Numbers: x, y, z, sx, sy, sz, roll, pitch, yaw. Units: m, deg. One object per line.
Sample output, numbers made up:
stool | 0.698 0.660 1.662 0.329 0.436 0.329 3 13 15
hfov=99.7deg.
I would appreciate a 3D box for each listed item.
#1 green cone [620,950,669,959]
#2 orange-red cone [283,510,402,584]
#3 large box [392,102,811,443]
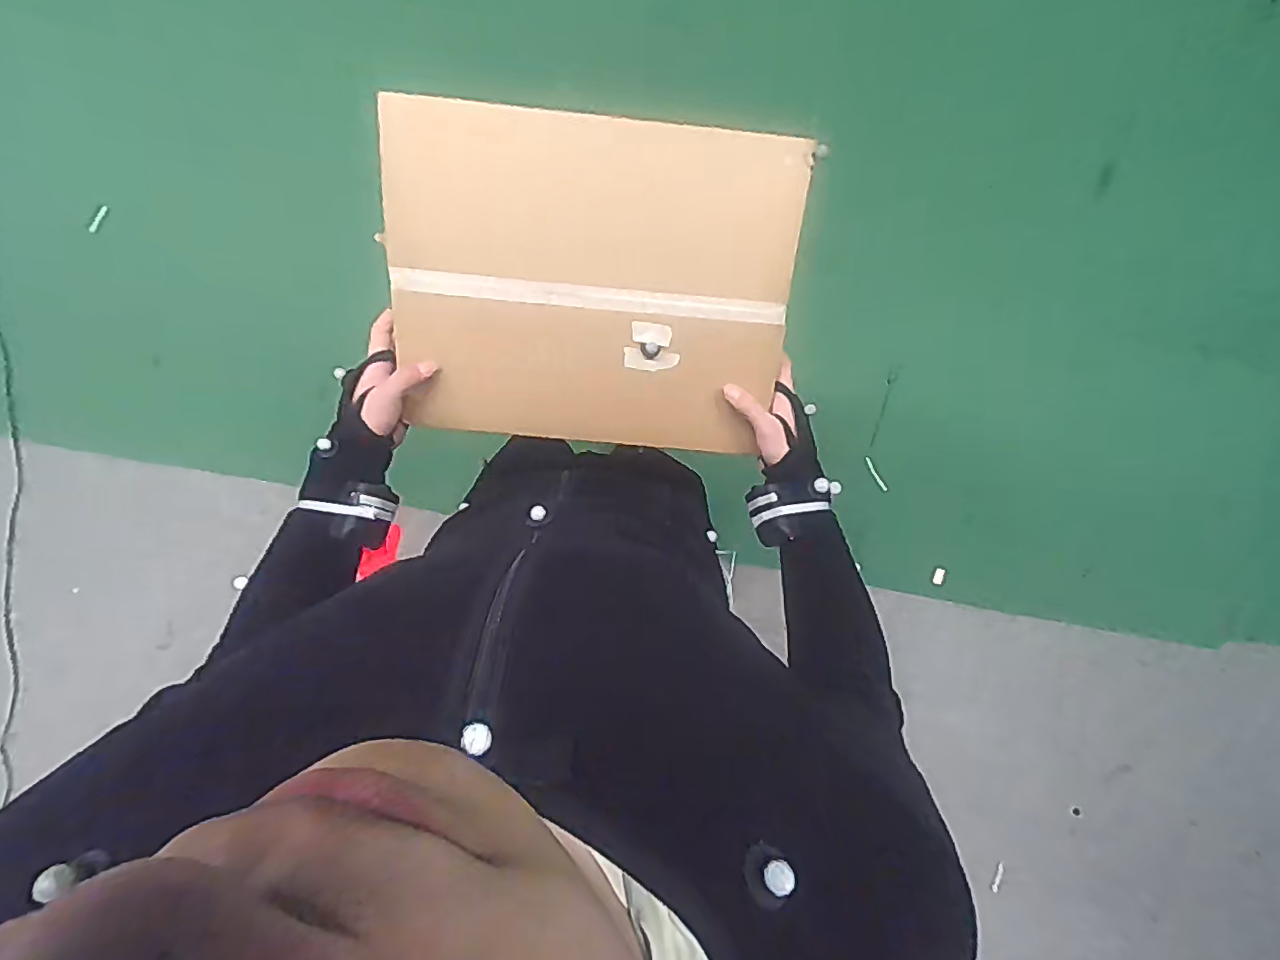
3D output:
green cone | 0.016 1.703 1.647 0.200 0.368 0.202 16 95 -2
orange-red cone | -0.847 0.221 1.485 0.199 0.360 0.198 18 95 0
large box | -0.048 -0.249 0.700 0.408 0.320 0.320 4 112 -3
